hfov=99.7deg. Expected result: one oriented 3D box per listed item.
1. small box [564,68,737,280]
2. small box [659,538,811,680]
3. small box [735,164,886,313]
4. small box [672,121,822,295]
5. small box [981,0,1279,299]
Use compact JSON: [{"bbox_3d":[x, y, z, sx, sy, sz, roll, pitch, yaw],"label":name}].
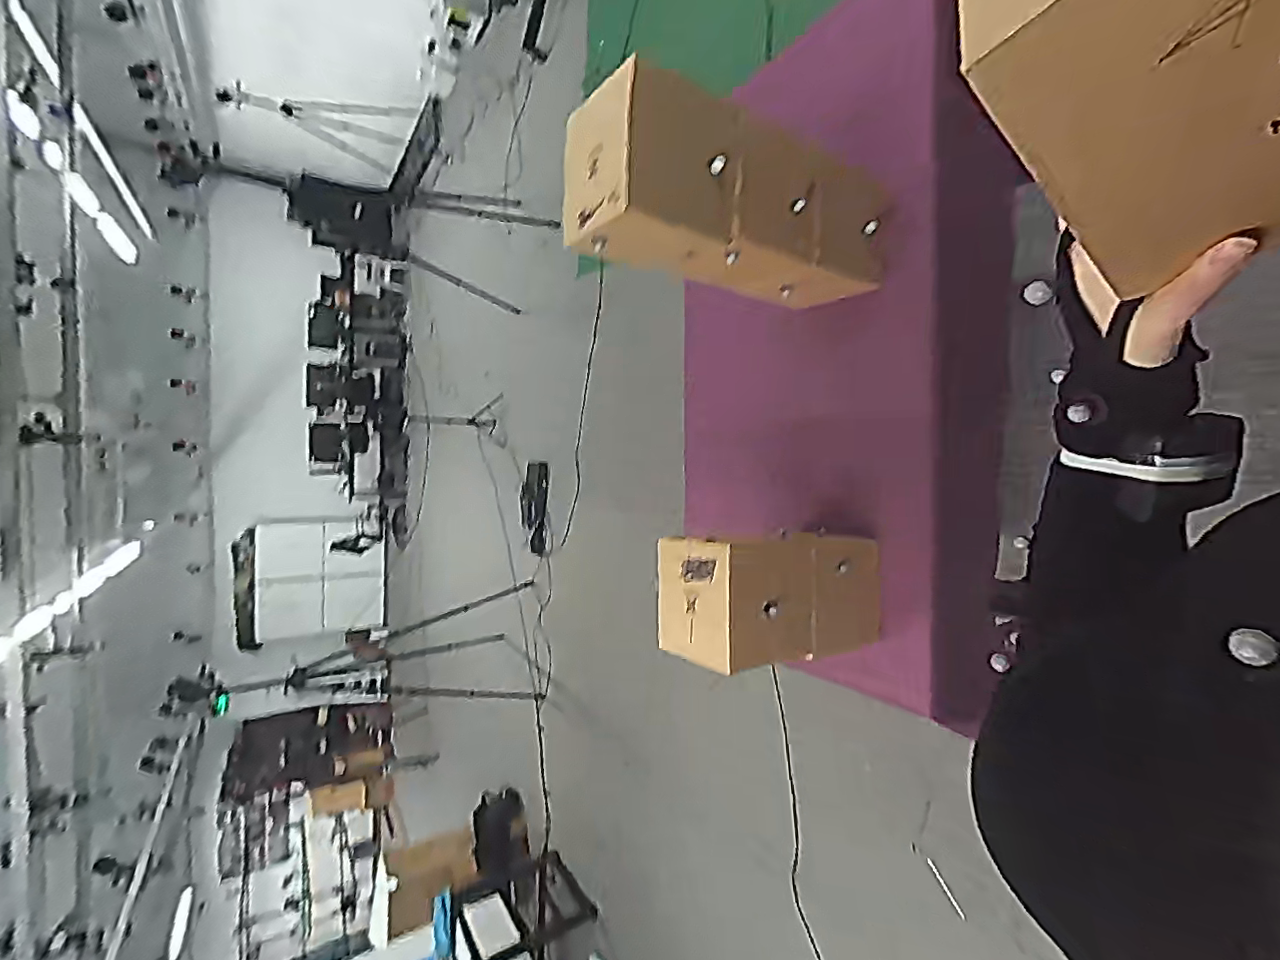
[{"bbox_3d":[0.014,-0.392,0.732,0.168,0.176,0.179,9,96,56],"label":"small box"},{"bbox_3d":[0.145,0.183,0.830,0.168,0.176,0.179,-3,87,56],"label":"small box"},{"bbox_3d":[0.285,-0.391,0.916,0.179,0.176,0.168,6,95,56],"label":"small box"},{"bbox_3d":[0.149,-0.394,0.825,0.179,0.176,0.168,5,94,55],"label":"small box"},{"bbox_3d":[0.259,-0.214,0.210,0.168,0.179,0.176,-18,55,52],"label":"small box"}]
